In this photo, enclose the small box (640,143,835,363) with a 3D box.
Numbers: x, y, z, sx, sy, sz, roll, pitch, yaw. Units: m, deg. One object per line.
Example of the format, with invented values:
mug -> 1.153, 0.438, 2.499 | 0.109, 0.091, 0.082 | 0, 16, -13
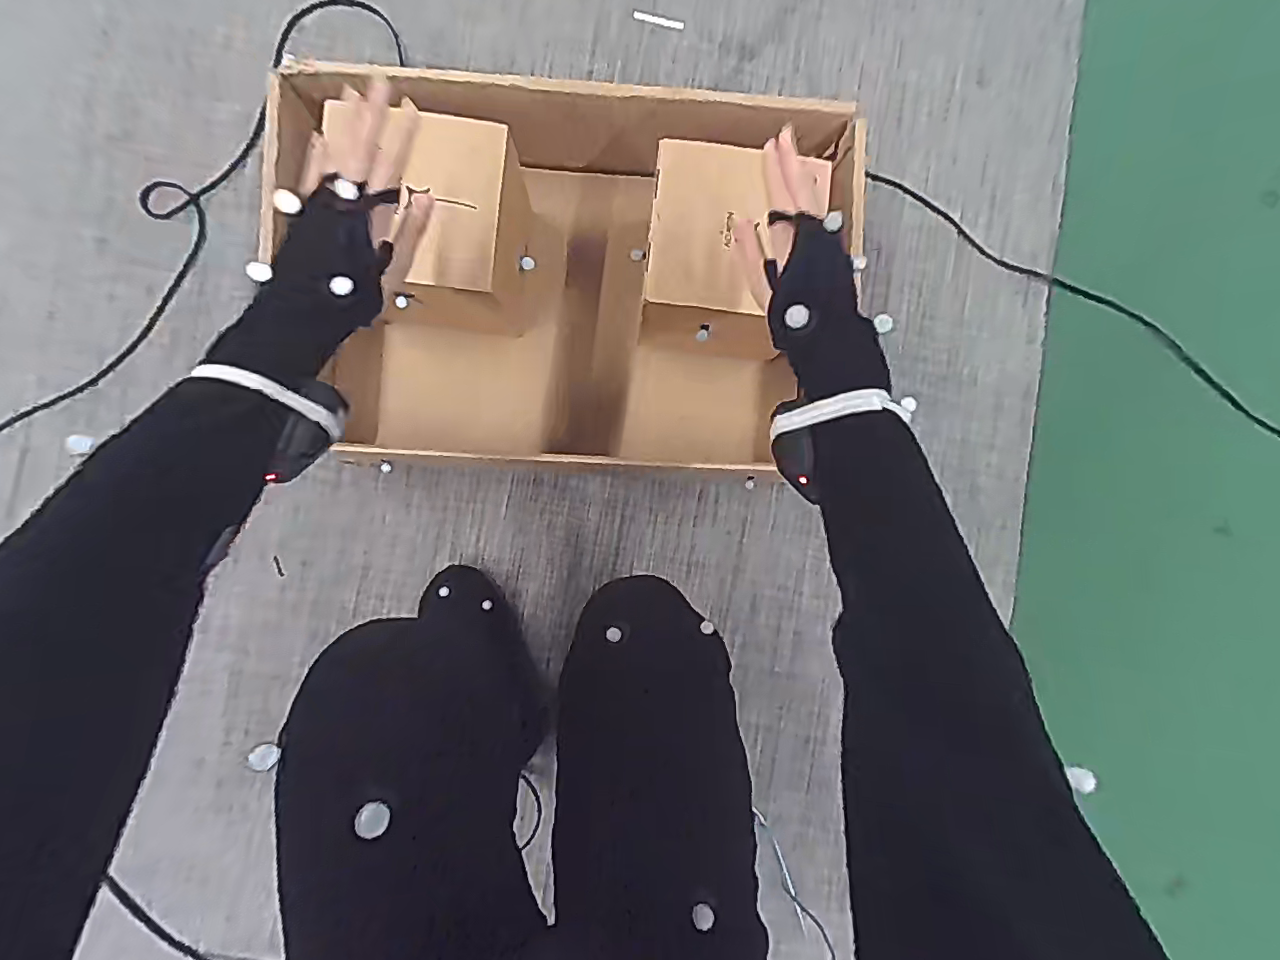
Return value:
small box -> 0.096, -0.240, 0.615 | 0.179, 0.176, 0.168 | 8, 88, -3
